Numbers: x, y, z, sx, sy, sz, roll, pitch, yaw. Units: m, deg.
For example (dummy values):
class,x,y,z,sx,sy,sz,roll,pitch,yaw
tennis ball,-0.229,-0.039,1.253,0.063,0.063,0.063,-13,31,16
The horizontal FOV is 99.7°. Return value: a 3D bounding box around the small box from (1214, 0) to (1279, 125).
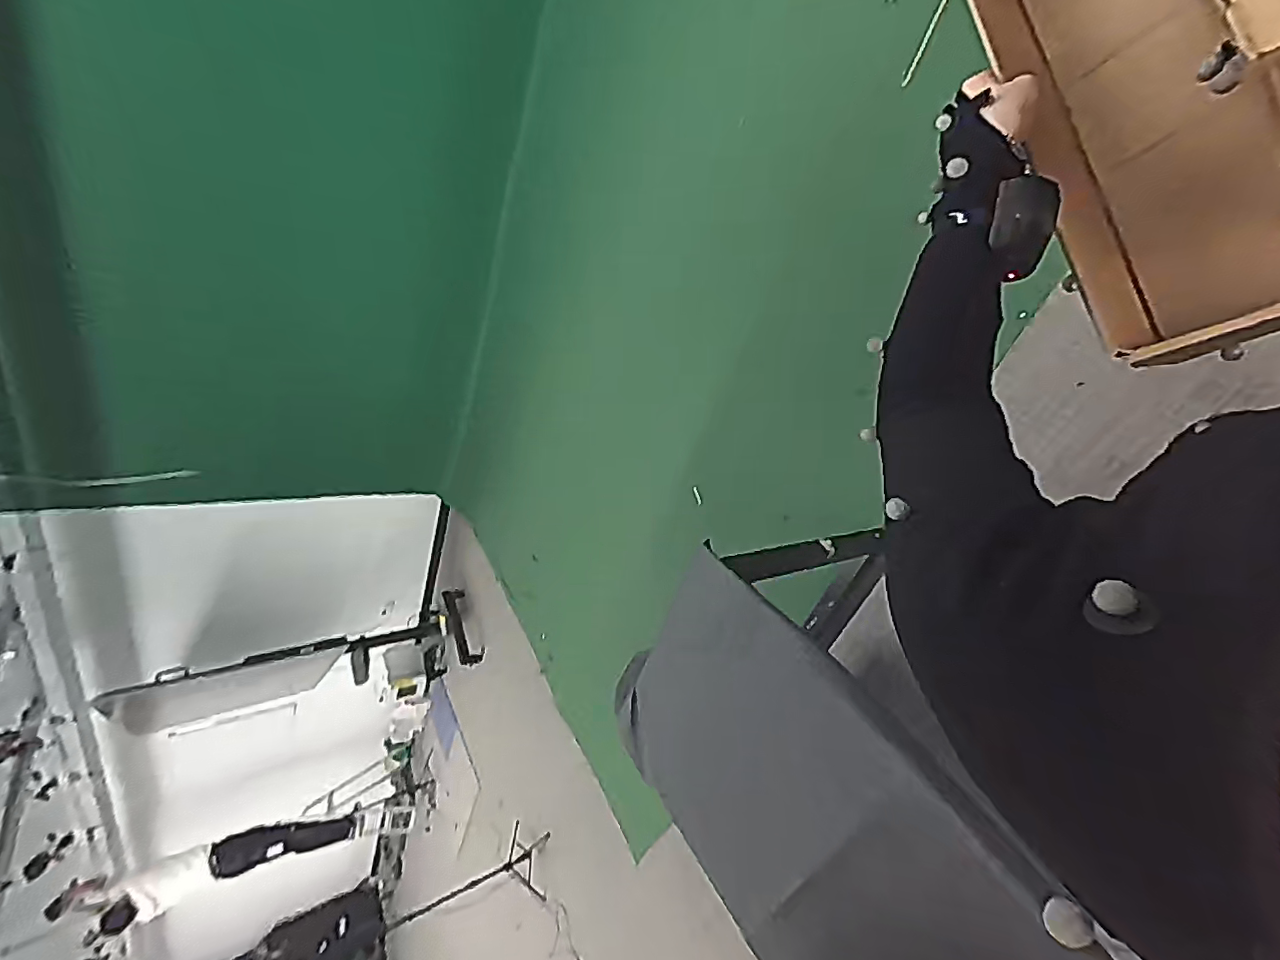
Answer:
class,x,y,z,sx,sy,sz,roll,pitch,yaw
small box,0.366,-0.292,0.230,0.179,0.176,0.168,-27,74,51
